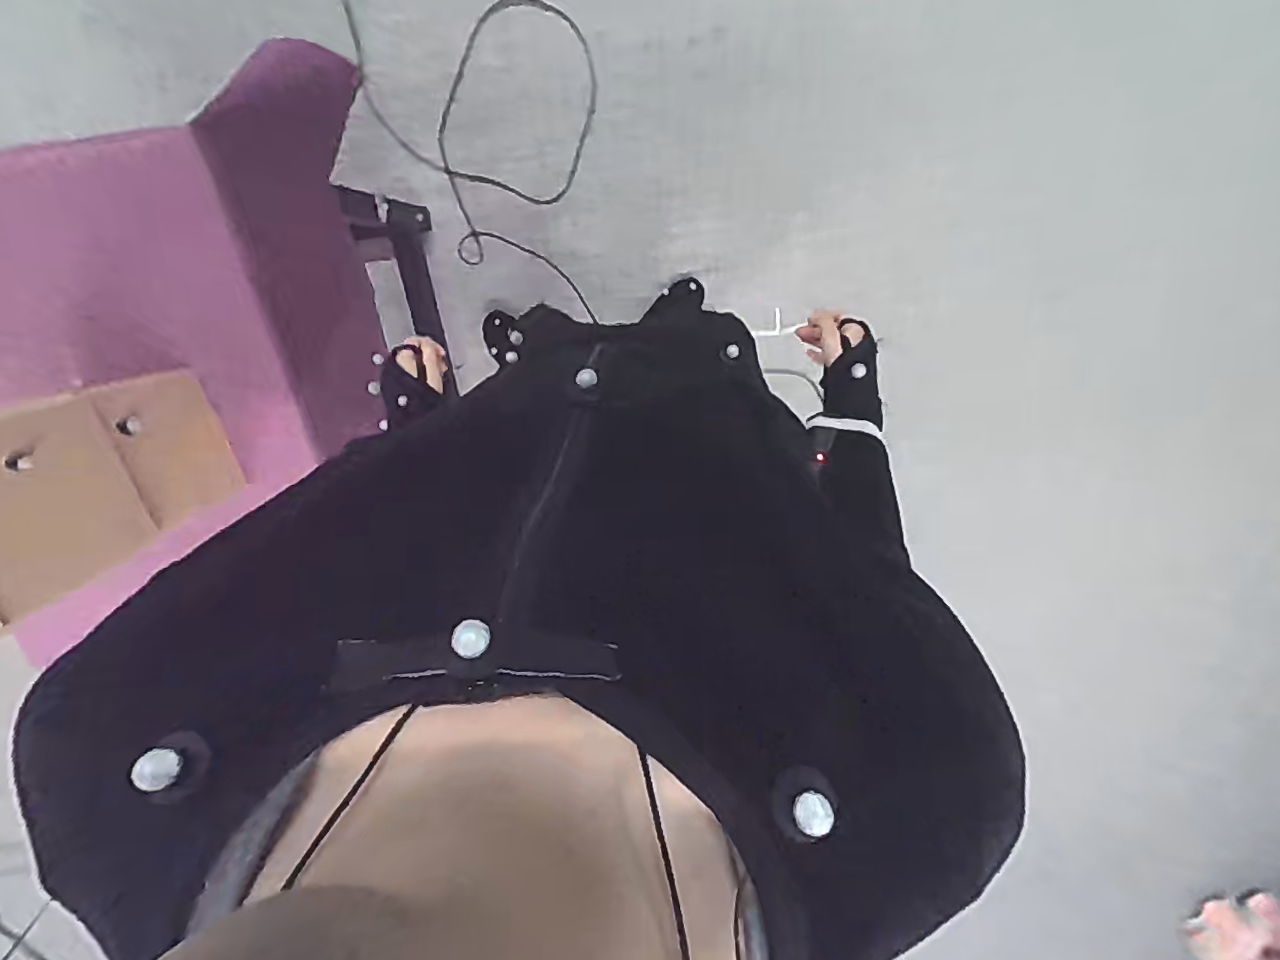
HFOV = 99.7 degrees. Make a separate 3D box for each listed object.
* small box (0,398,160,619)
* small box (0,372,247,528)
[{"bbox_3d":[-0.644,0.023,0.530,0.168,0.176,0.179,-7,111,5],"label":"small box"},{"bbox_3d":[-0.657,-0.034,0.683,0.168,0.176,0.179,-9,110,6],"label":"small box"}]
